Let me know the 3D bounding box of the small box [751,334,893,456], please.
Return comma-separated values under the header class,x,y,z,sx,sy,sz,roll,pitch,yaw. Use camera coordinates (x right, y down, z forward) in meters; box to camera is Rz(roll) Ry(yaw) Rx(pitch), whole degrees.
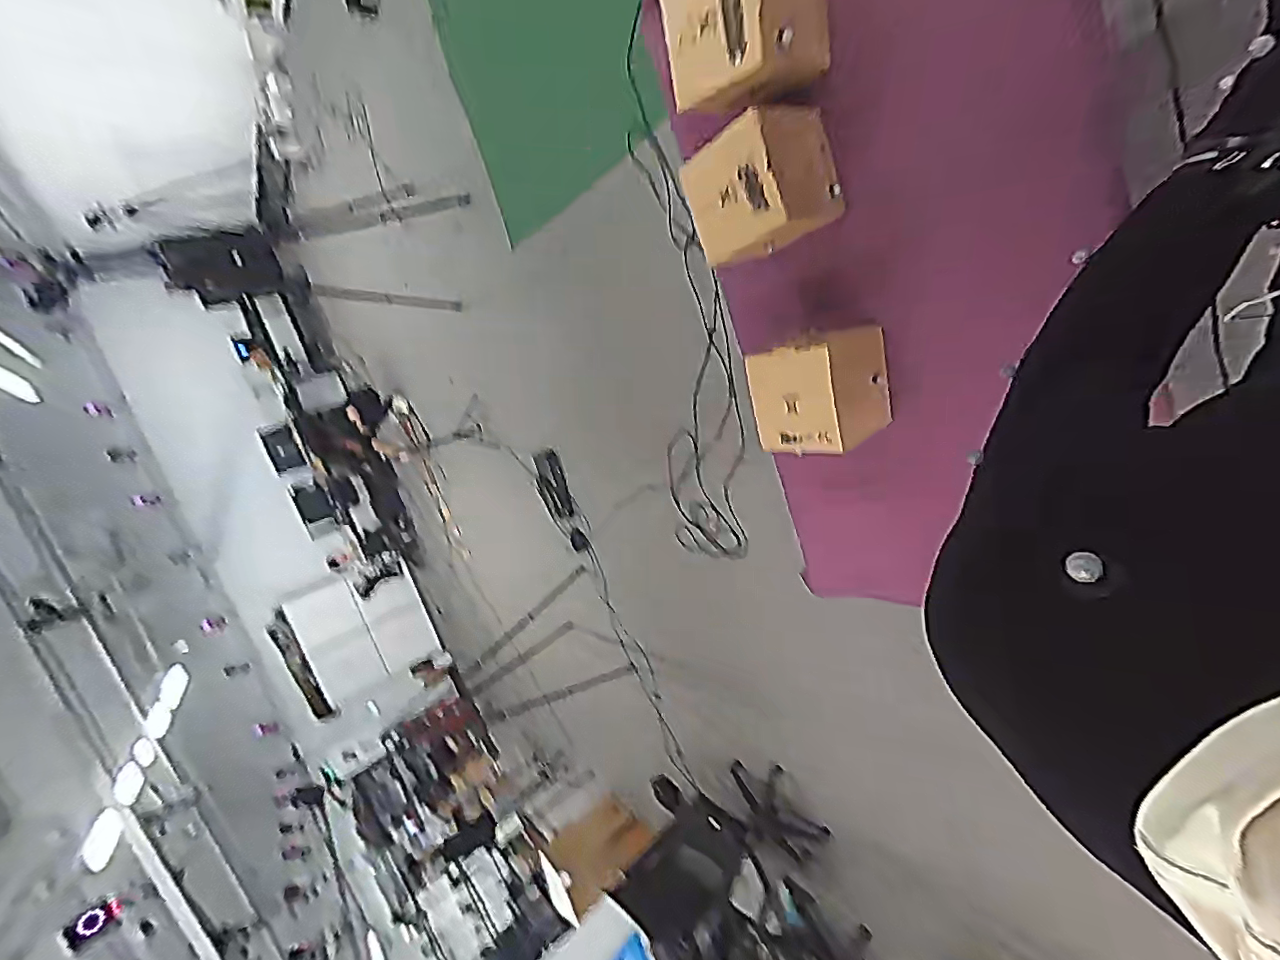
class,x,y,z,sx,sy,sz,roll,pitch,yaw
small box,0.324,-0.153,0.954,0.168,0.176,0.179,7,116,52
